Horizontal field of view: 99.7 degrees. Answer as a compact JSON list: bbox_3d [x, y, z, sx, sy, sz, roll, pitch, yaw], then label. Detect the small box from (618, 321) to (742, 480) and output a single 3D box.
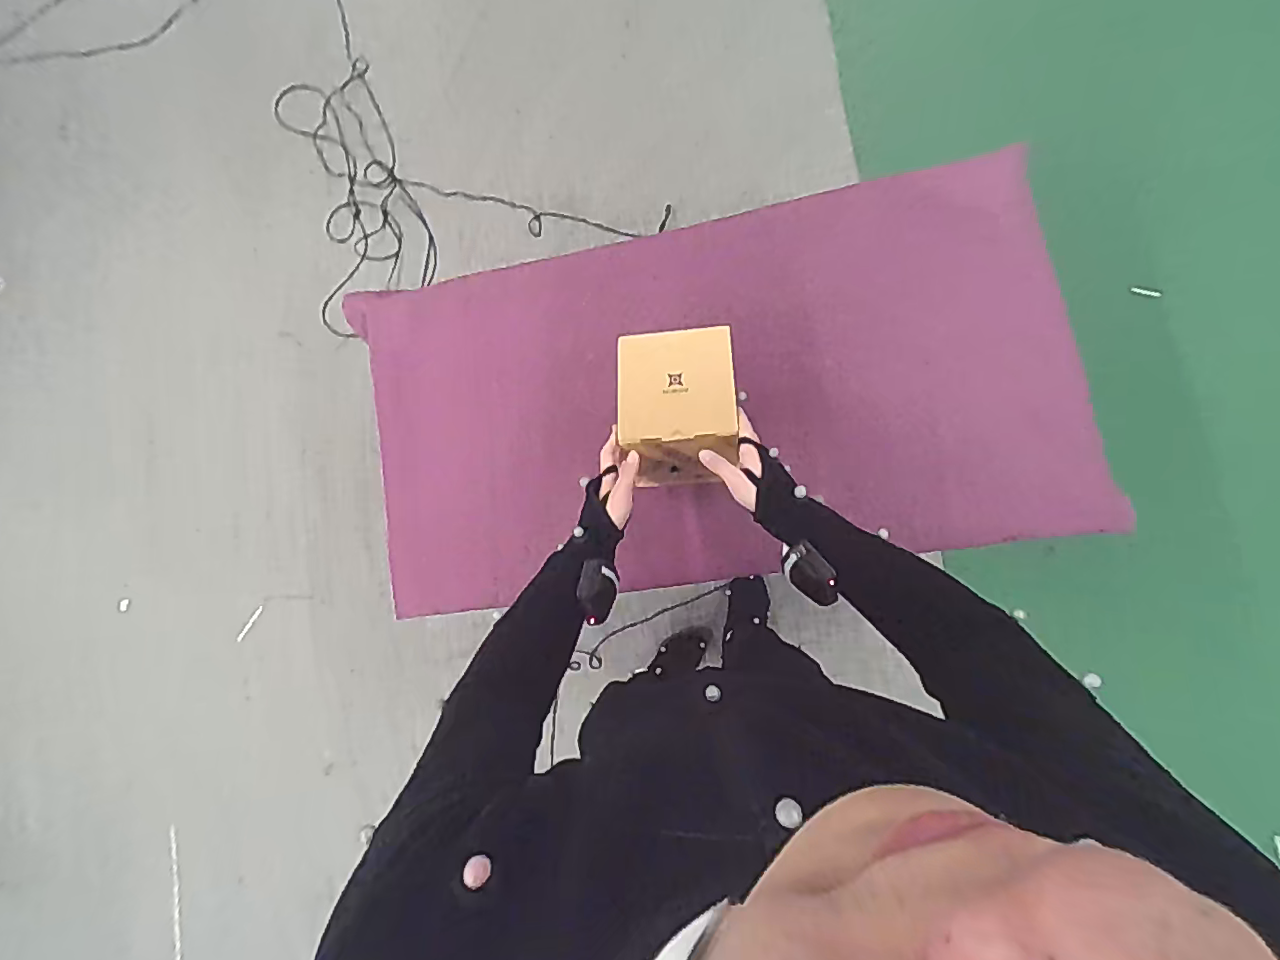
[{"bbox_3d":[0.060,-0.112,0.816,0.168,0.176,0.179,-4,70,6],"label":"small box"}]
